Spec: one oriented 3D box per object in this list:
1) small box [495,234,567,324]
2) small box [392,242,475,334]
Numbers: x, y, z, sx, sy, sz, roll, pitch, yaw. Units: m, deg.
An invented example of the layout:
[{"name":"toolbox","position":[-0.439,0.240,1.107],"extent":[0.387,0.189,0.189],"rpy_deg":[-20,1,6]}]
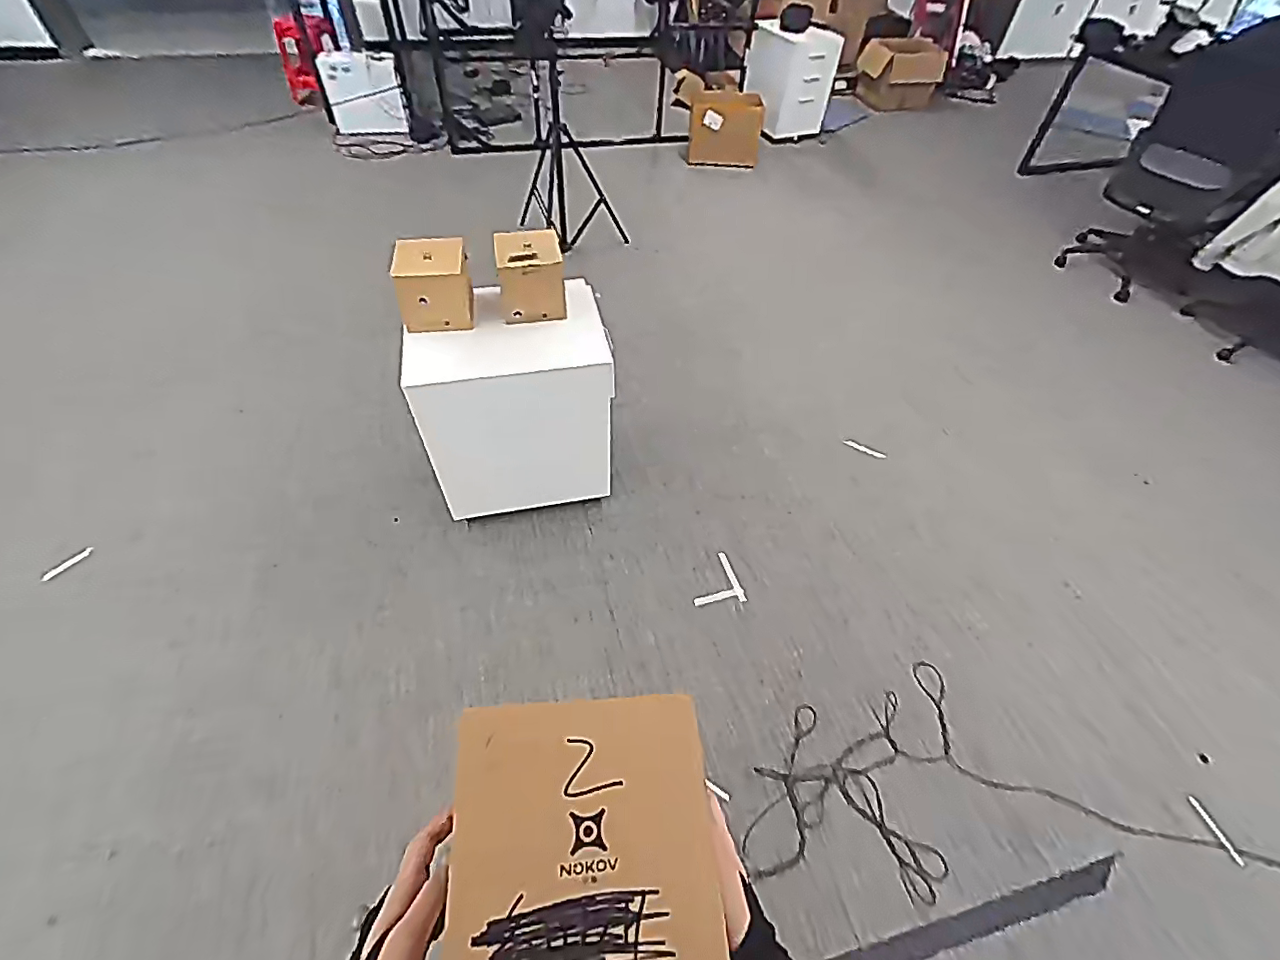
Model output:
[{"name":"small box","position":[-0.291,-0.535,1.454],"extent":[0.168,0.176,0.179],"rpy_deg":[-8,51,-9]},{"name":"small box","position":[-0.530,-0.494,1.410],"extent":[0.168,0.176,0.179],"rpy_deg":[-6,51,-9]}]
